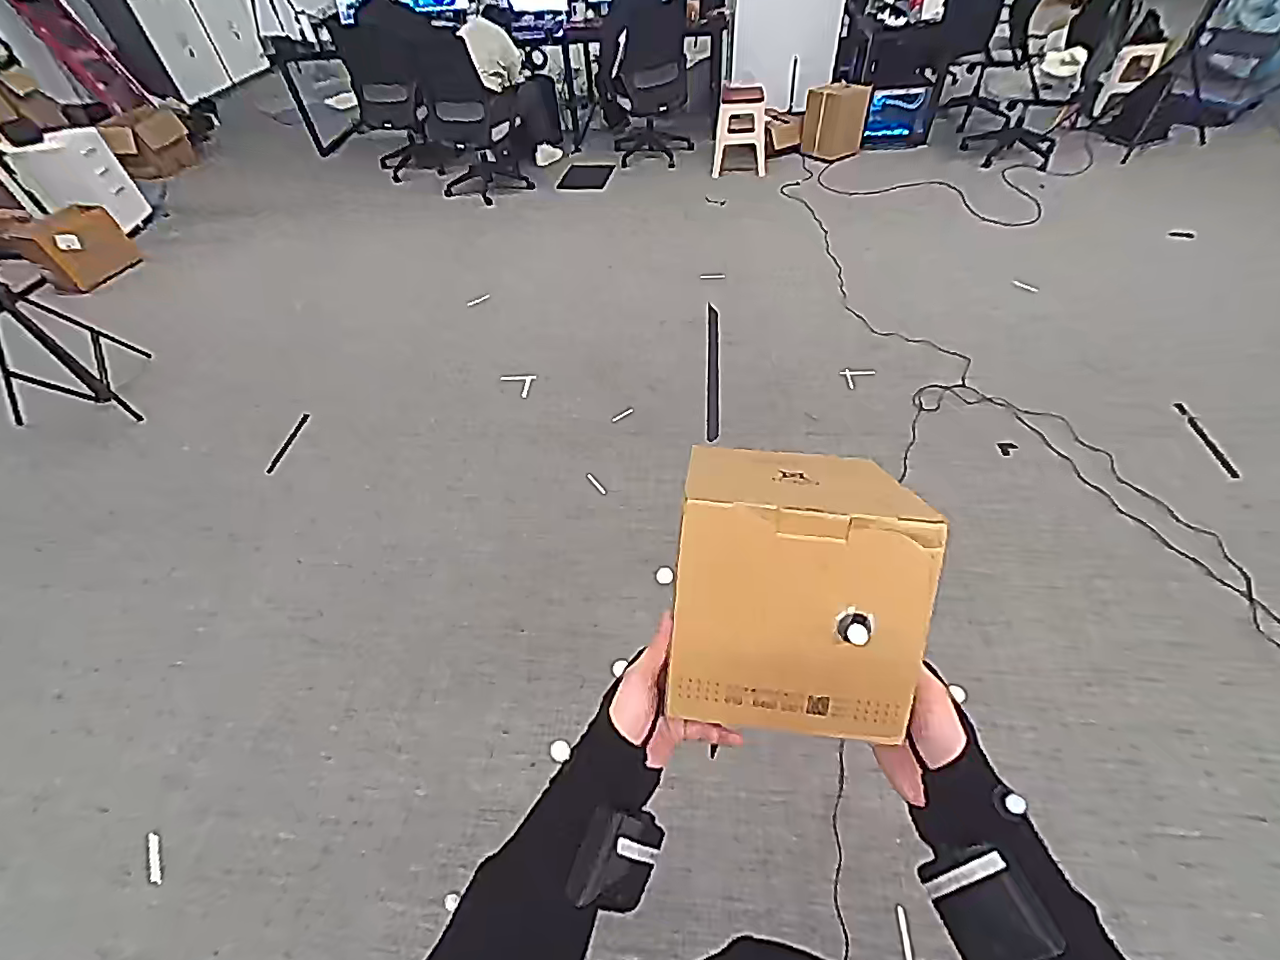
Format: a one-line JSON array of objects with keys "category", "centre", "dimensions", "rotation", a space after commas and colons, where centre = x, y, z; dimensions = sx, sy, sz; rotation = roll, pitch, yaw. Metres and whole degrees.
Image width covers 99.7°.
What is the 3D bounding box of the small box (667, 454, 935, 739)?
[{"category": "small box", "centre": [0.114, 0.083, 0.450], "dimensions": [0.168, 0.176, 0.179], "rotation": [6, 15, 5]}]
